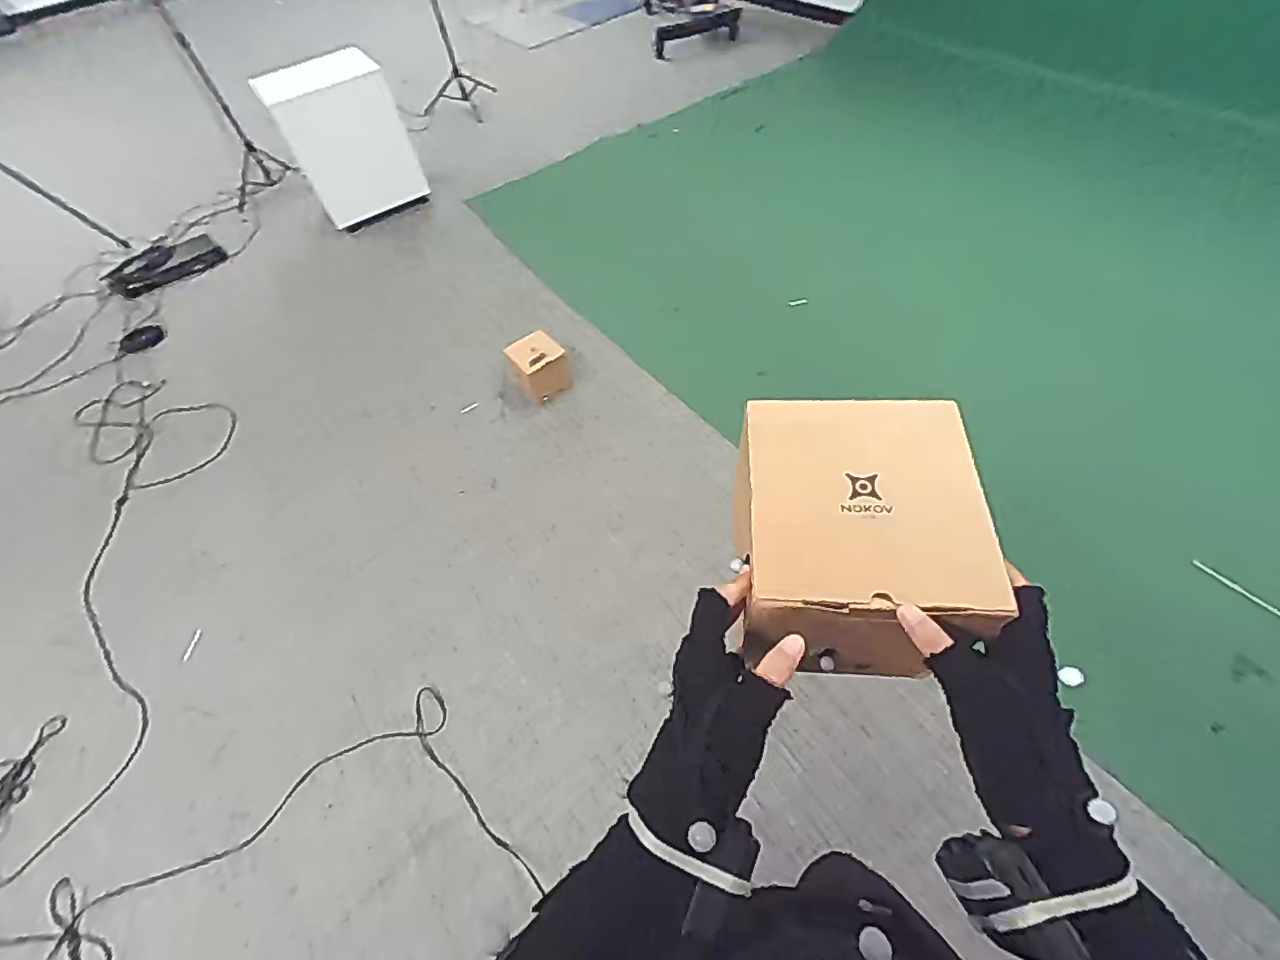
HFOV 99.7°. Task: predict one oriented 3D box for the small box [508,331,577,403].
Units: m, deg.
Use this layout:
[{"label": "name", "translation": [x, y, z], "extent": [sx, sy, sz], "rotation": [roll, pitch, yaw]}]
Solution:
[{"label": "small box", "translation": [-0.354, -0.409, 1.993], "extent": [0.168, 0.176, 0.179], "rotation": [-35, 59, -17]}]
